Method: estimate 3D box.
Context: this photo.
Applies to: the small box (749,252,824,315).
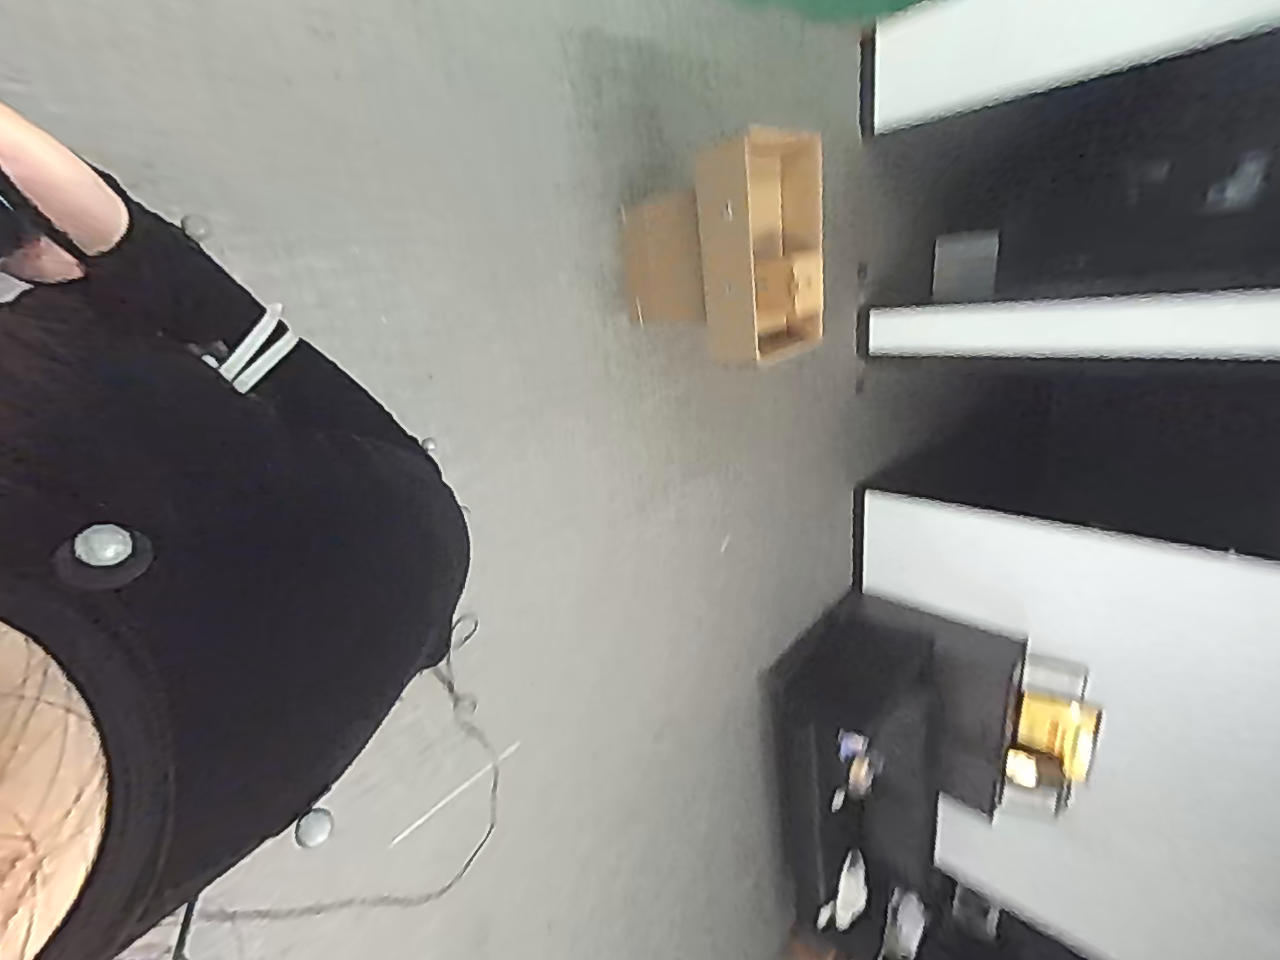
[{"bbox_3d":[0.468,-0.627,1.726,0.179,0.176,0.168,-27,117,-38],"label":"small box"}]
